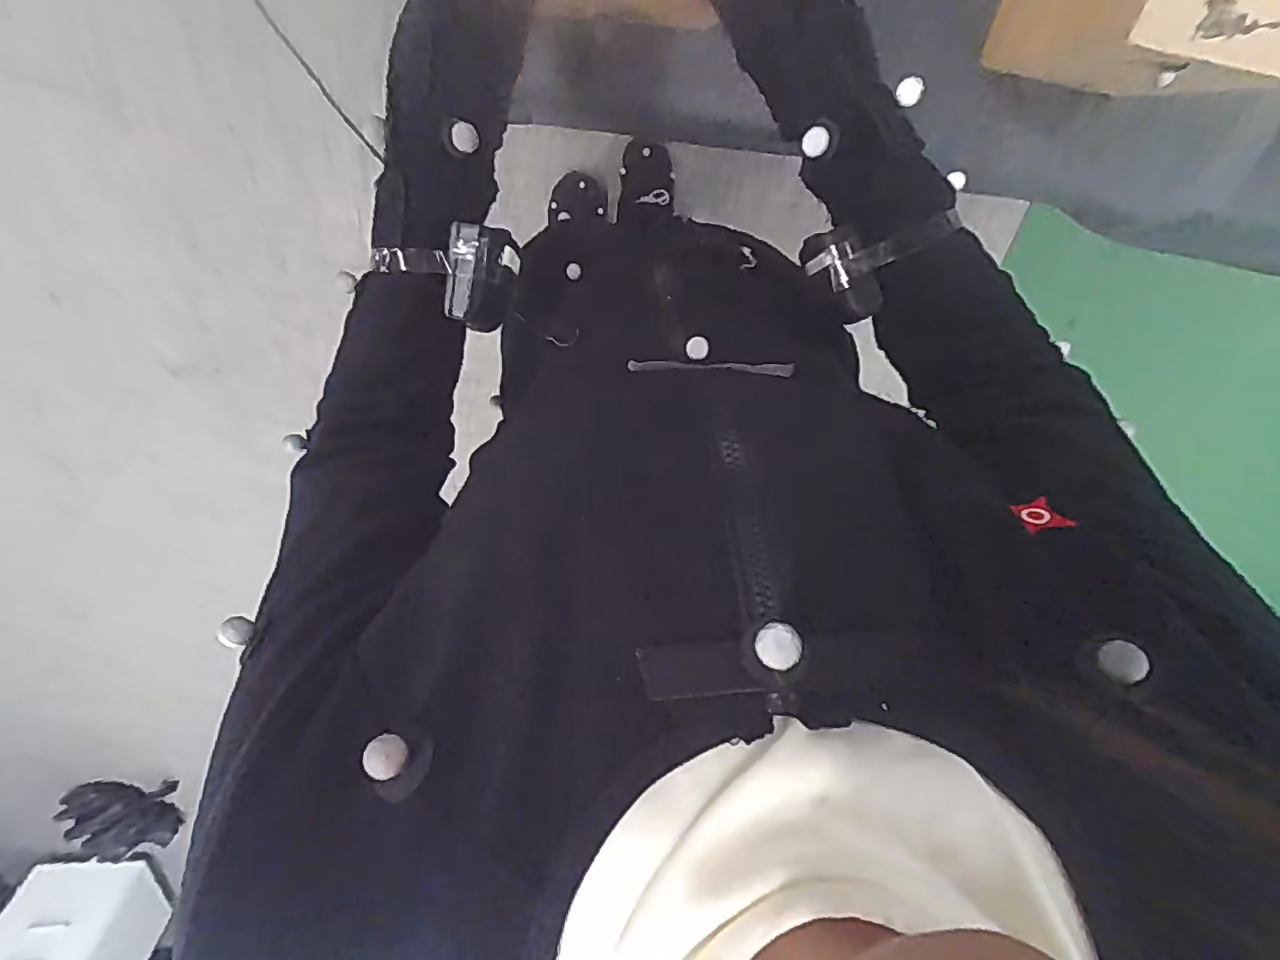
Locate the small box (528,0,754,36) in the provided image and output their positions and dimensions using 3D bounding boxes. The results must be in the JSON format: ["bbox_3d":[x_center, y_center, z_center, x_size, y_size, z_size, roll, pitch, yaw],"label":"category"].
[{"bbox_3d":[-0.004,-0.408,0.333,0.168,0.176,0.179,2,122,-6],"label":"small box"}]
